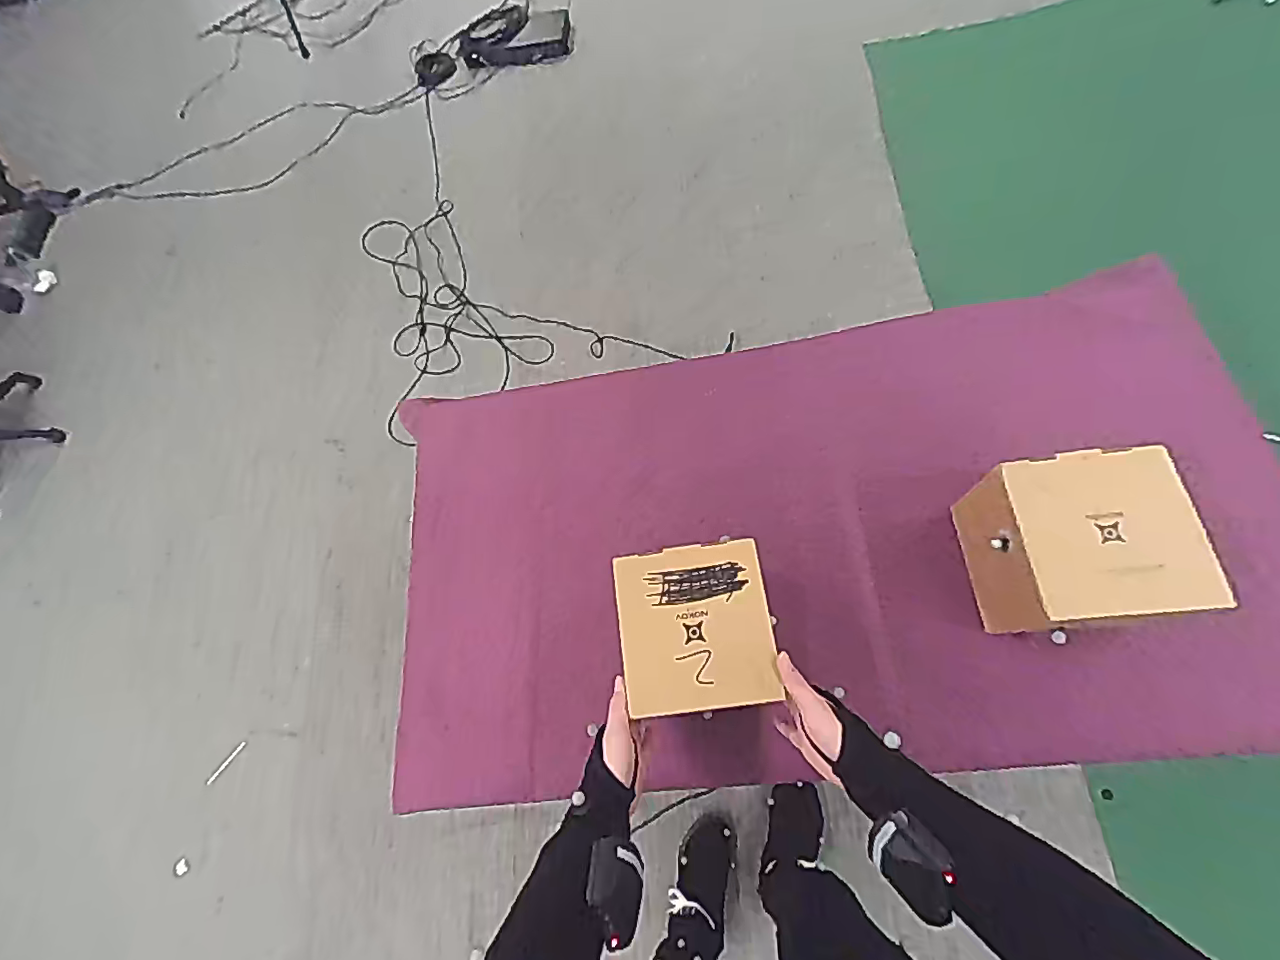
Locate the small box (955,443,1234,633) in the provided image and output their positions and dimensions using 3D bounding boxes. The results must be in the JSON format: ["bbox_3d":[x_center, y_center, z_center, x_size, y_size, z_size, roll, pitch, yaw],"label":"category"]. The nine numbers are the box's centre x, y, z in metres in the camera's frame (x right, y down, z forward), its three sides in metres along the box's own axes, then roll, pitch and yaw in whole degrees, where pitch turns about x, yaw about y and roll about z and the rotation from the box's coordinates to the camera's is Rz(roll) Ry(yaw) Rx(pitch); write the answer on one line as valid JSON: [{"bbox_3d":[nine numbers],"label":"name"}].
[{"bbox_3d":[0.495,0.076,0.629,0.168,0.176,0.179,-7,68,10],"label":"small box"}]
